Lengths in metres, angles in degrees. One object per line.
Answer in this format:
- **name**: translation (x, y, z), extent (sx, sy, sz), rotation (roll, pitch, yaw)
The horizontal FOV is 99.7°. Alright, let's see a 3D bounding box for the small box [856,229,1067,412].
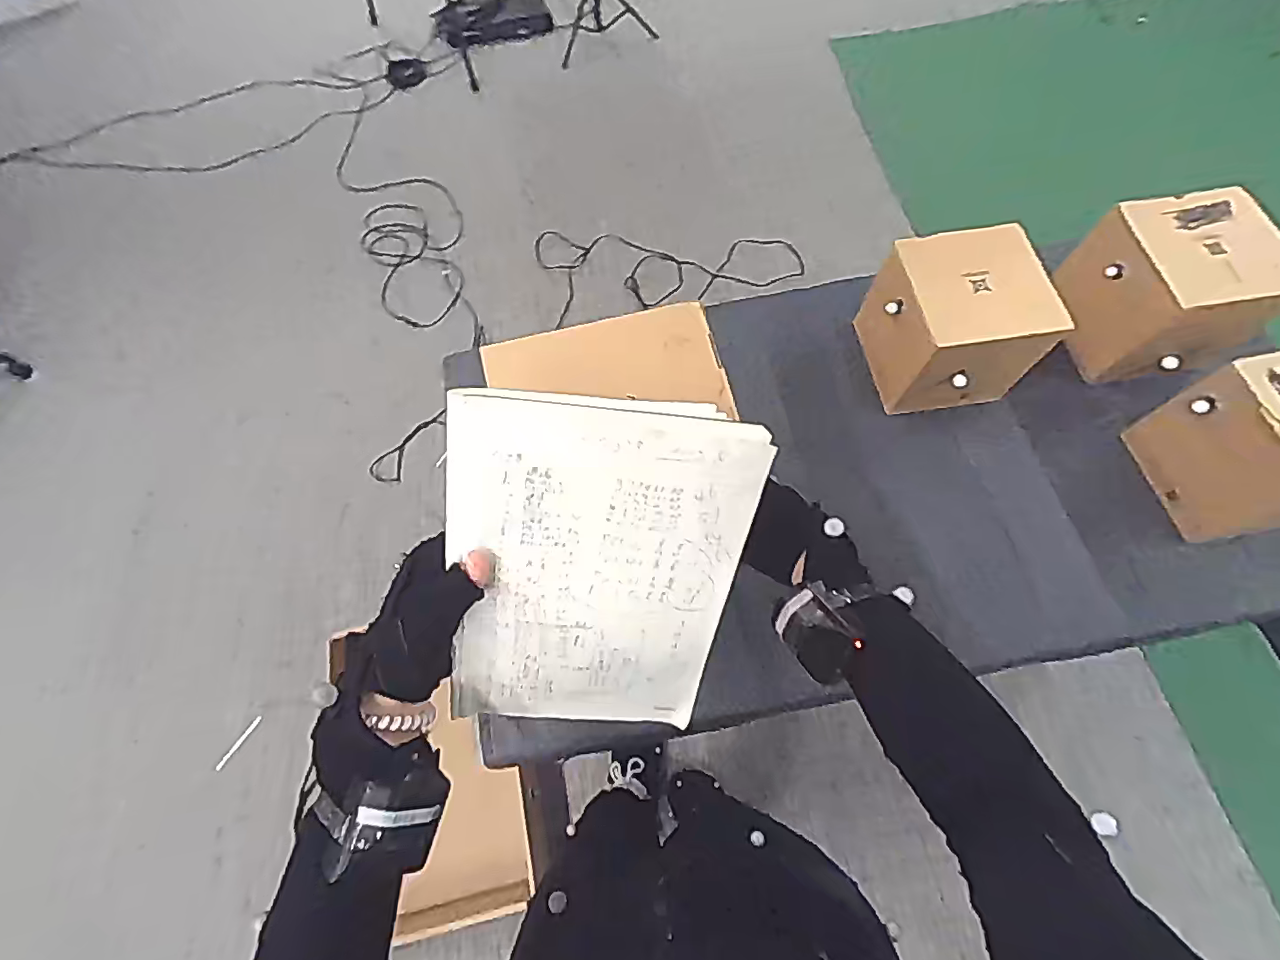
- **small box**: translation (0.422, -0.208, 0.747), extent (0.168, 0.176, 0.179), rotation (-8, 66, 0)

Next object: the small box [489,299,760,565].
- **small box**: translation (-0.017, -0.028, 0.476), extent (0.179, 0.176, 0.168), rotation (-13, 76, -4)

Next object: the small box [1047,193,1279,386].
- **small box**: translation (0.708, -0.255, 0.746), extent (0.168, 0.176, 0.179), rotation (-8, 67, 1)
